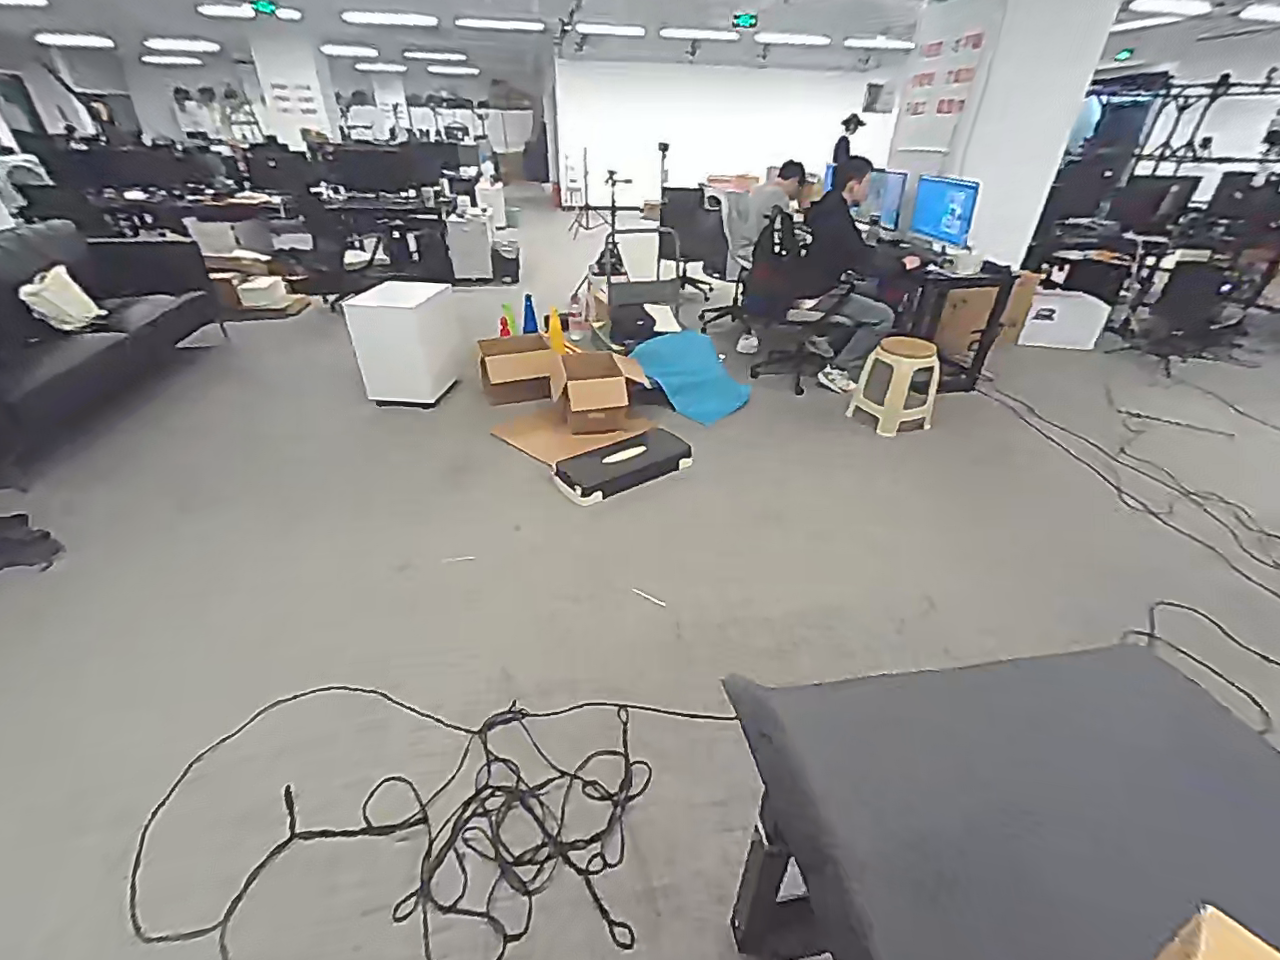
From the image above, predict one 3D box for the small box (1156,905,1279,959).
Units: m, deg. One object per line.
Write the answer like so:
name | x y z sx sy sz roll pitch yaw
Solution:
small box | 0.408 0.444 0.345 0.179 0.176 0.168 -7 28 -38
